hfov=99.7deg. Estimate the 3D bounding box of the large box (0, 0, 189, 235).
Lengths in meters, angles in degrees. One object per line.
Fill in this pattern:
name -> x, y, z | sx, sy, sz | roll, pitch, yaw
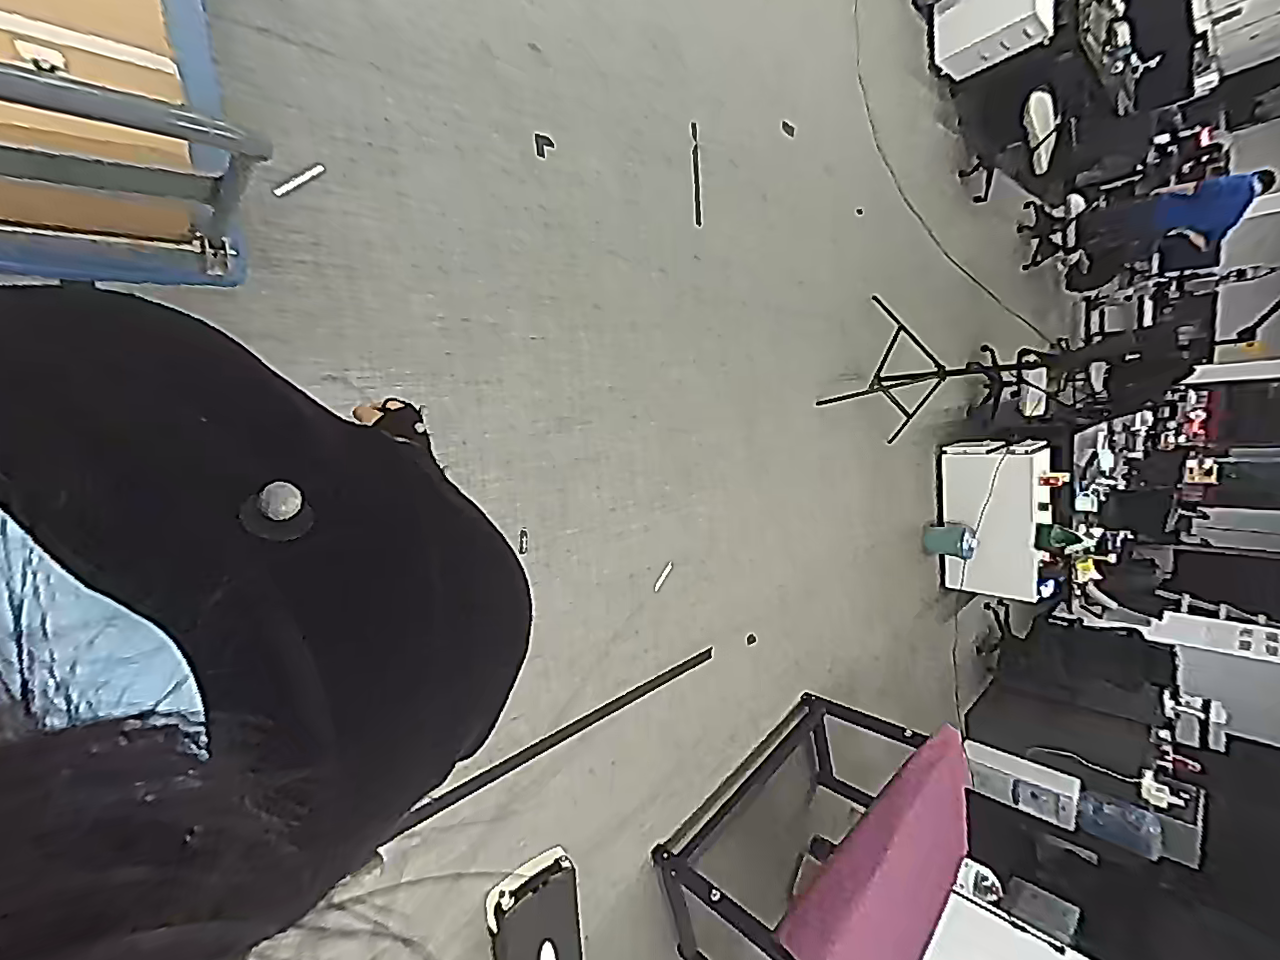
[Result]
large box -> -0.943, -0.580, 0.778 | 0.408, 0.320, 0.320 | -11, 100, -42
